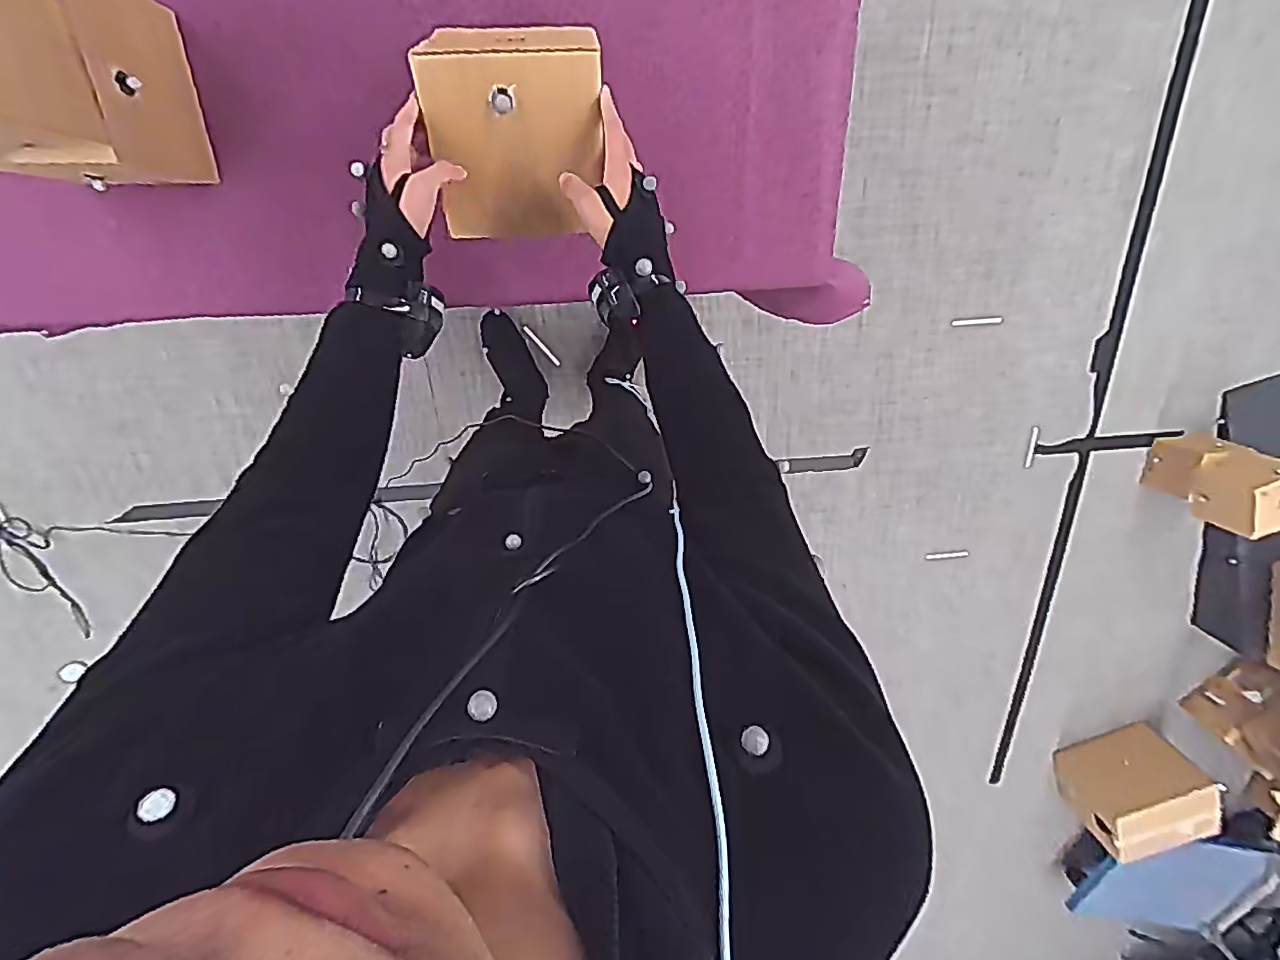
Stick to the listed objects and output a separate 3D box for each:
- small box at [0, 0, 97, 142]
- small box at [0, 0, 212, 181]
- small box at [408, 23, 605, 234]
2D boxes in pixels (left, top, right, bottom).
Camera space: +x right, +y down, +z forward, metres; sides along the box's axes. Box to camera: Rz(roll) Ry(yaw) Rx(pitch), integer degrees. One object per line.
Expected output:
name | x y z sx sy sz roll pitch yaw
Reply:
small box | -0.591 -0.367 0.411 0.168 0.176 0.179 -6 113 -4
small box | -0.602 -0.420 0.567 0.168 0.176 0.179 -2 113 -5
small box | -0.130 -0.390 0.603 0.179 0.168 0.176 -4 134 -4
